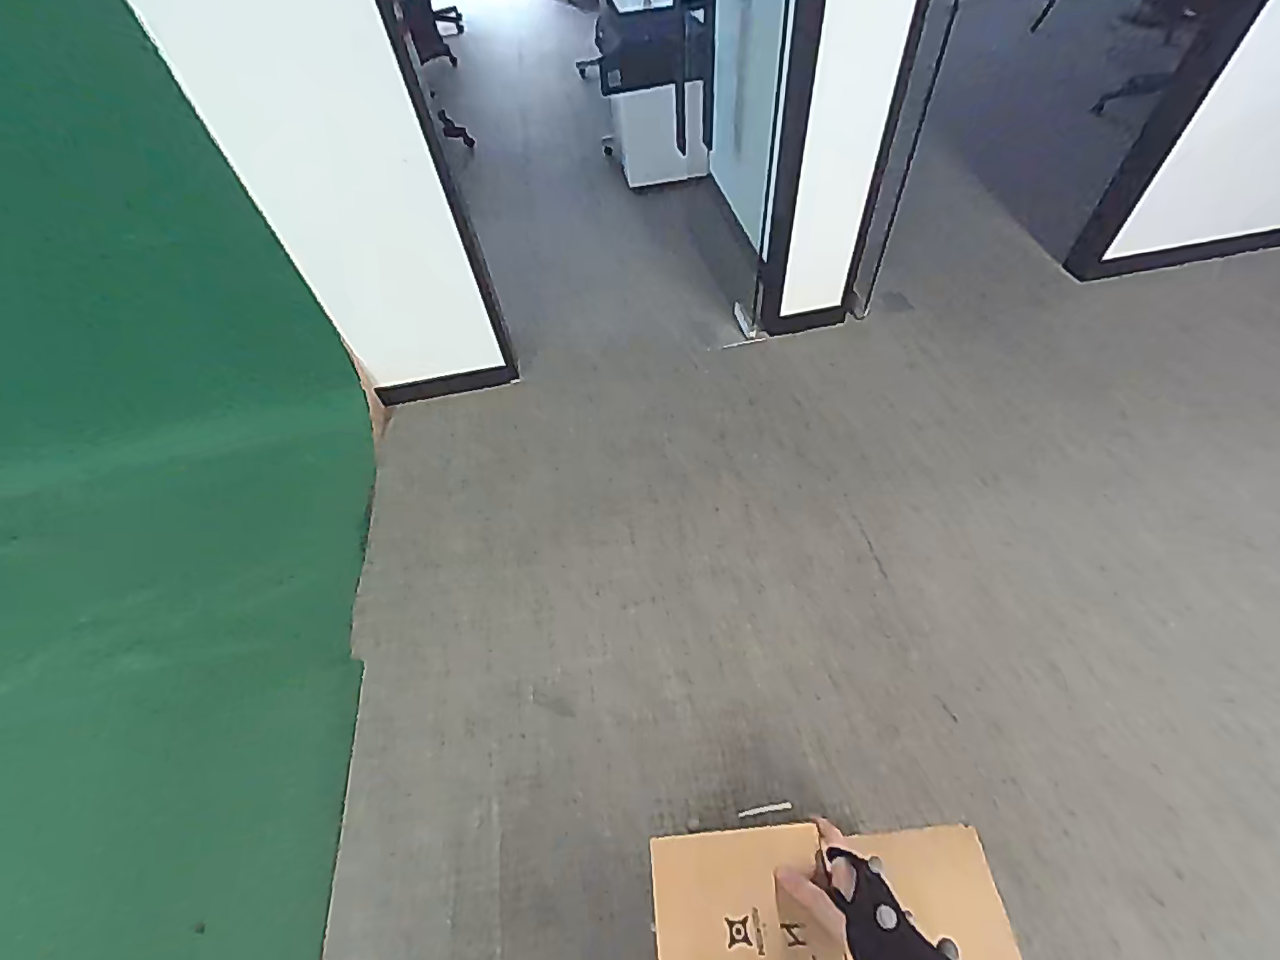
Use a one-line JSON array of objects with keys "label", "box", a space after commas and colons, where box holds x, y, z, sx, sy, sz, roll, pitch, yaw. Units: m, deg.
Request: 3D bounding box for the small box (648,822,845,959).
[{"label": "small box", "box": [0.110, 0.474, 0.577, 0.179, 0.176, 0.168, -8, 54, 3]}]
